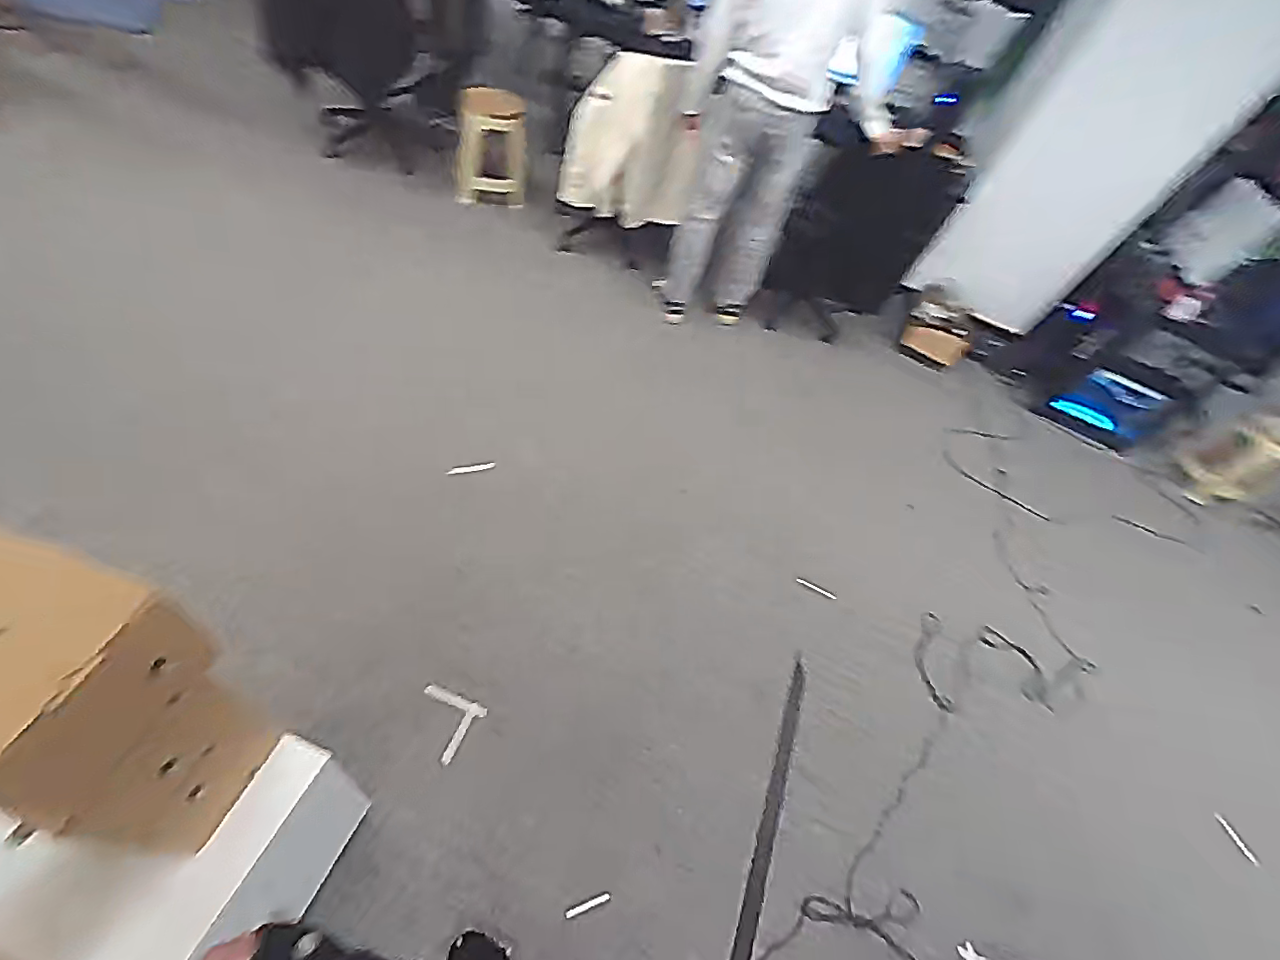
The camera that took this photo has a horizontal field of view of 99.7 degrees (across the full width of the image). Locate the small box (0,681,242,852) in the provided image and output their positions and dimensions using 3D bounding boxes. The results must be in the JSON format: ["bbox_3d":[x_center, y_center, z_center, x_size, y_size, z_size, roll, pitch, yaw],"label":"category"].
[{"bbox_3d":[-0.585,0.276,0.584,0.179,0.176,0.168,24,51,0],"label":"small box"}]

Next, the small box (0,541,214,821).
[{"bbox_3d":[-0.528,0.176,0.467,0.179,0.176,0.168,20,50,-3],"label":"small box"}]

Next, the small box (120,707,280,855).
[{"bbox_3d":[-0.626,0.372,0.712,0.179,0.176,0.168,23,52,0],"label":"small box"}]
